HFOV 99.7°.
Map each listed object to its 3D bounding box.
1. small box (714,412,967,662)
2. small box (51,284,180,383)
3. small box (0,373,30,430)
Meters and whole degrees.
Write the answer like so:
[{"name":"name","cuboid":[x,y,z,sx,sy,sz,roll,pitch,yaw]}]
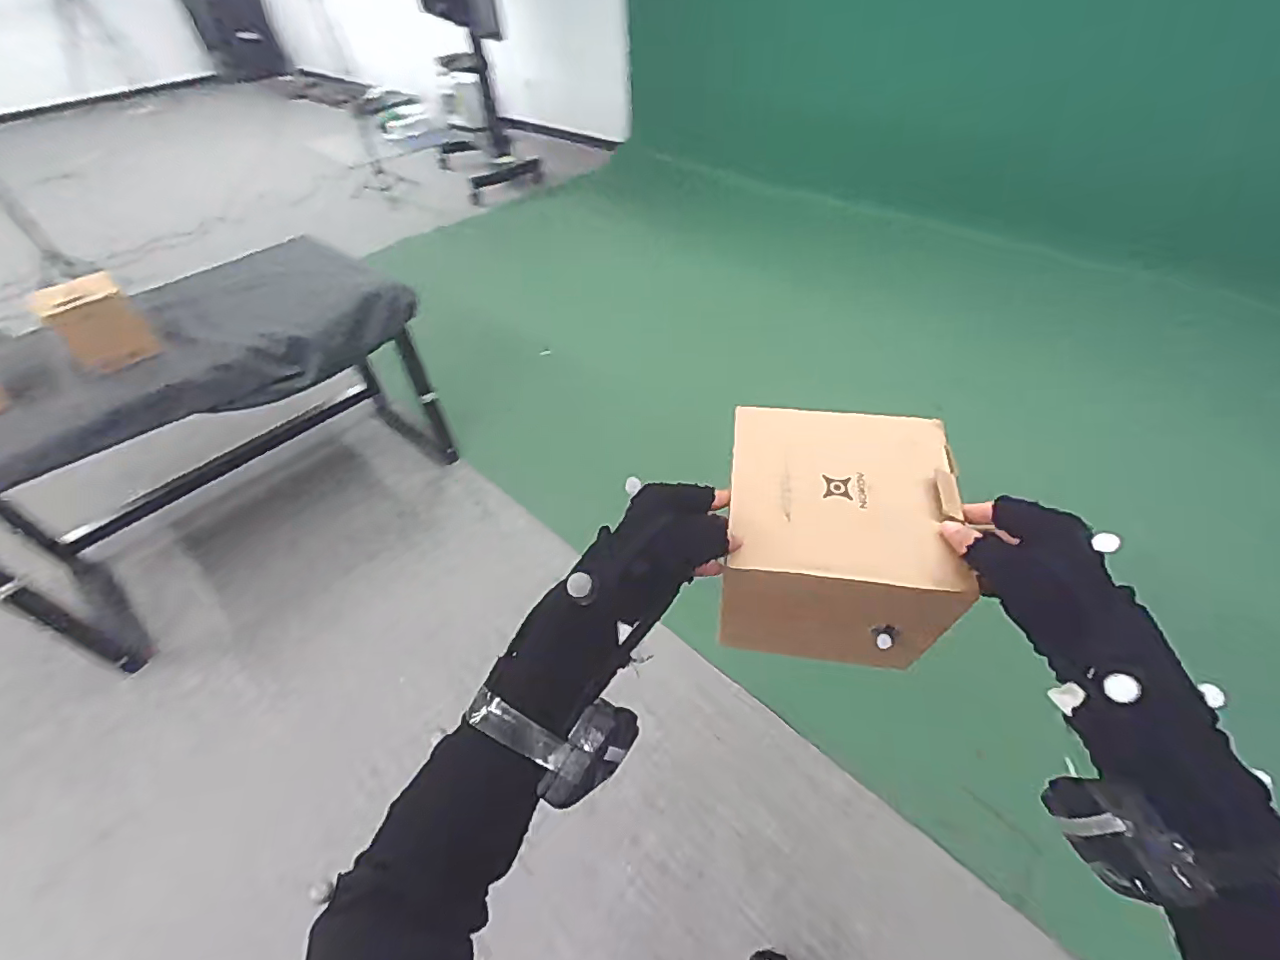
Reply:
[{"name":"small box","cuboid":[0.160,0.056,0.497,0.179,0.176,0.168,2,52,9]},{"name":"small box","cuboid":[-1.336,-0.373,1.388,0.179,0.176,0.168,33,57,32]},{"name":"small box","cuboid":[-1.576,-0.199,1.240,0.179,0.176,0.168,31,56,29]}]
